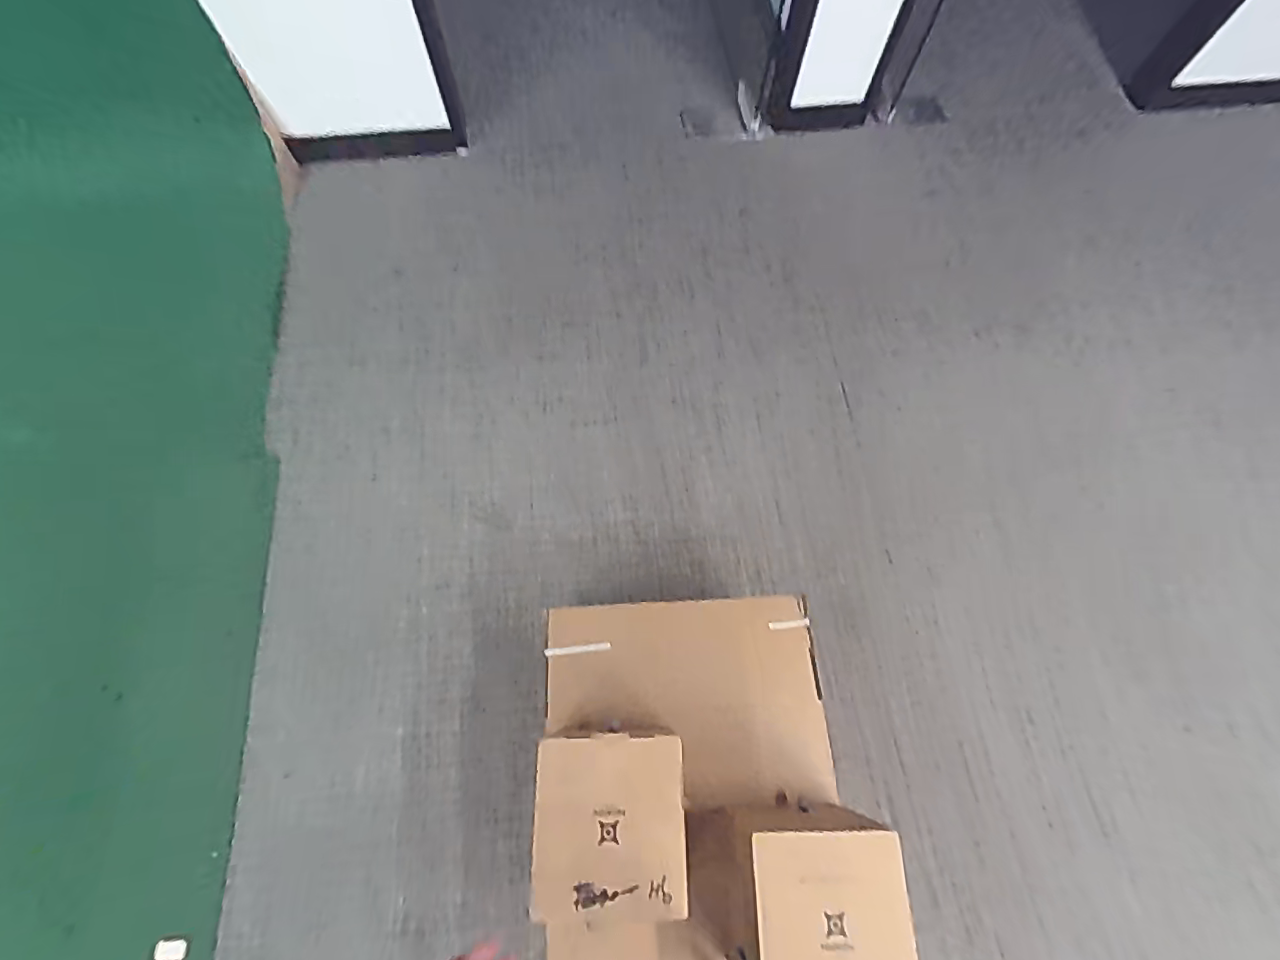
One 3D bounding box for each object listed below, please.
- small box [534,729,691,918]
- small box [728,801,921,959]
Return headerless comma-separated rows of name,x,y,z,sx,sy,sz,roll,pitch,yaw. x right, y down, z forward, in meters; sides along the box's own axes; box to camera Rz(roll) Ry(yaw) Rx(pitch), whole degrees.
small box,-0.029,0.402,0.662,0.168,0.176,0.179,0,67,0
small box,0.201,0.490,0.630,0.168,0.176,0.179,1,67,-2
